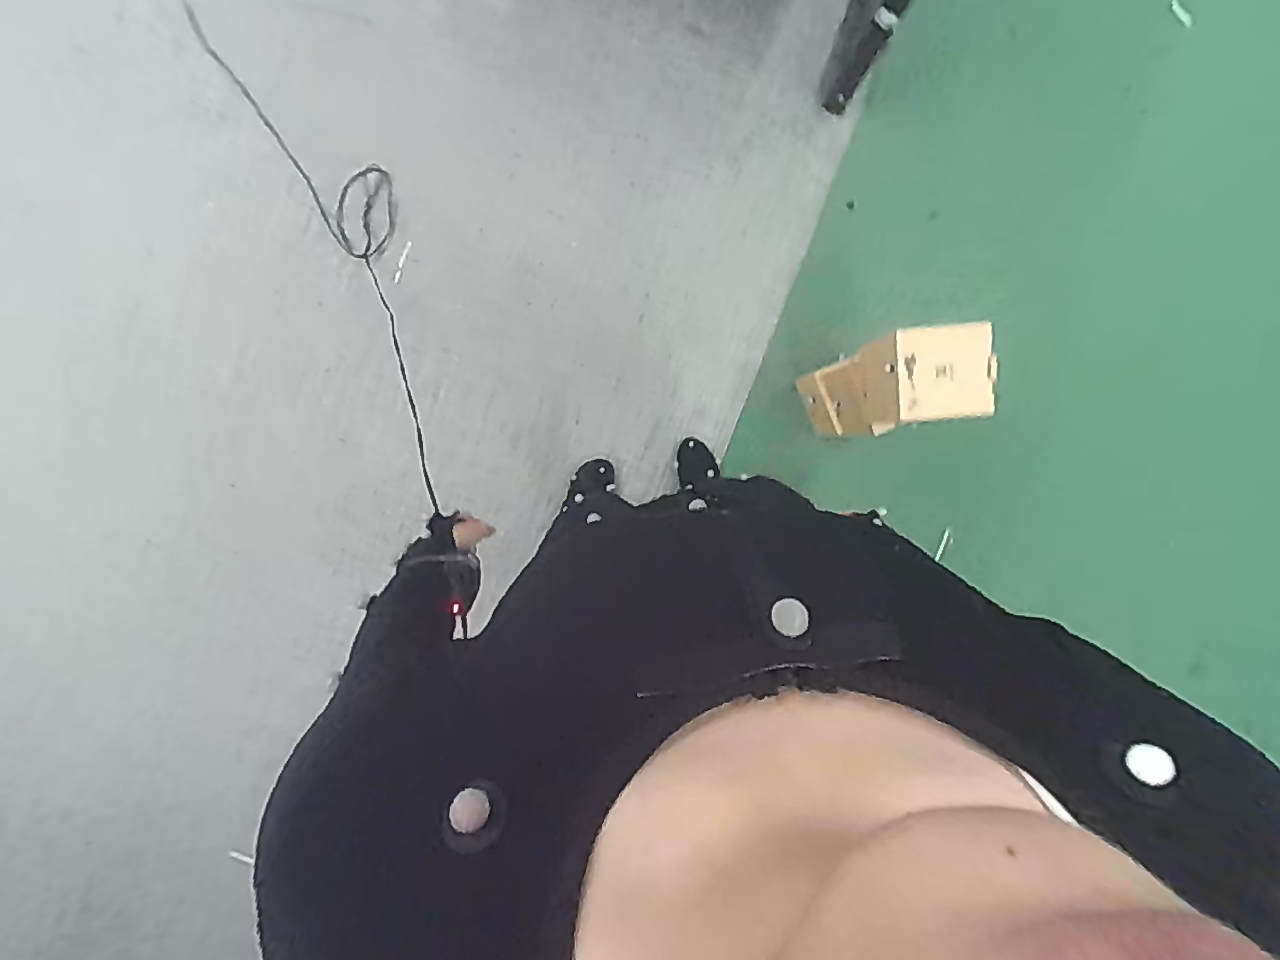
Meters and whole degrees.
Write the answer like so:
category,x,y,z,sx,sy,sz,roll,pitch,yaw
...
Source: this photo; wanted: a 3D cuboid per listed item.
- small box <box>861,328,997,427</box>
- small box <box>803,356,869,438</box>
category,x,y,z,sx,sy,sz,roll,pitch,yaw
small box,0.552,-0.192,1.047,0.179,0.176,0.168,-4,93,1
small box,0.533,-0.212,1.375,0.179,0.176,0.168,-24,93,1
